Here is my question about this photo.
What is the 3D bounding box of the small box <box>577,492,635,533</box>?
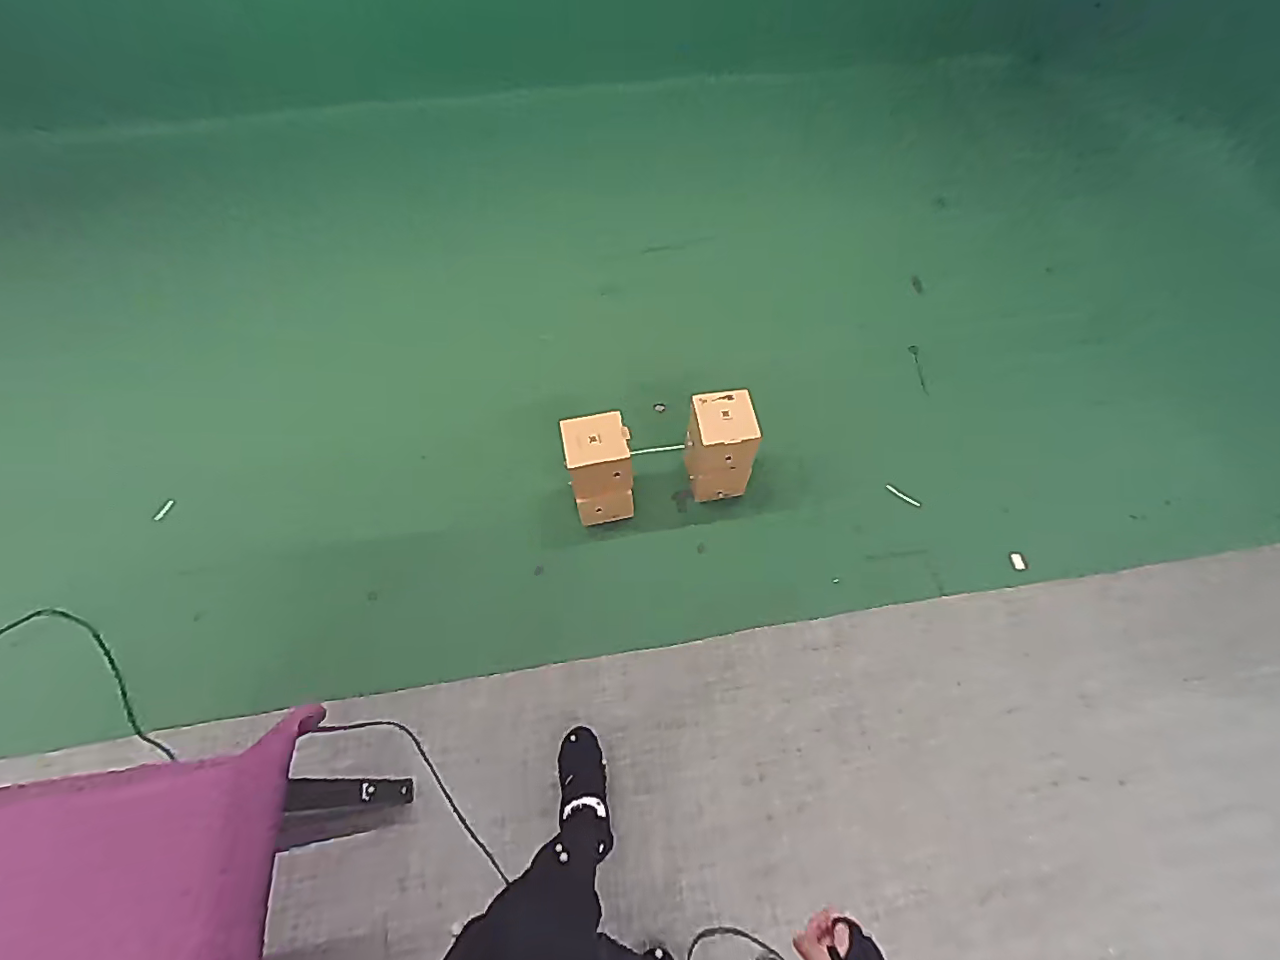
[{"bbox_3d":[-0.111,0.051,1.686,0.168,0.176,0.179,-11,59,-5],"label":"small box"}]

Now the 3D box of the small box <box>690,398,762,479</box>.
[{"bbox_3d":[0.246,-0.113,1.584,0.168,0.176,0.179,-7,61,-4],"label":"small box"}]

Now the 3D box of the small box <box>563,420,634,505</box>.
[{"bbox_3d":[-0.116,-0.046,1.555,0.179,0.176,0.168,-11,59,-5],"label":"small box"}]
